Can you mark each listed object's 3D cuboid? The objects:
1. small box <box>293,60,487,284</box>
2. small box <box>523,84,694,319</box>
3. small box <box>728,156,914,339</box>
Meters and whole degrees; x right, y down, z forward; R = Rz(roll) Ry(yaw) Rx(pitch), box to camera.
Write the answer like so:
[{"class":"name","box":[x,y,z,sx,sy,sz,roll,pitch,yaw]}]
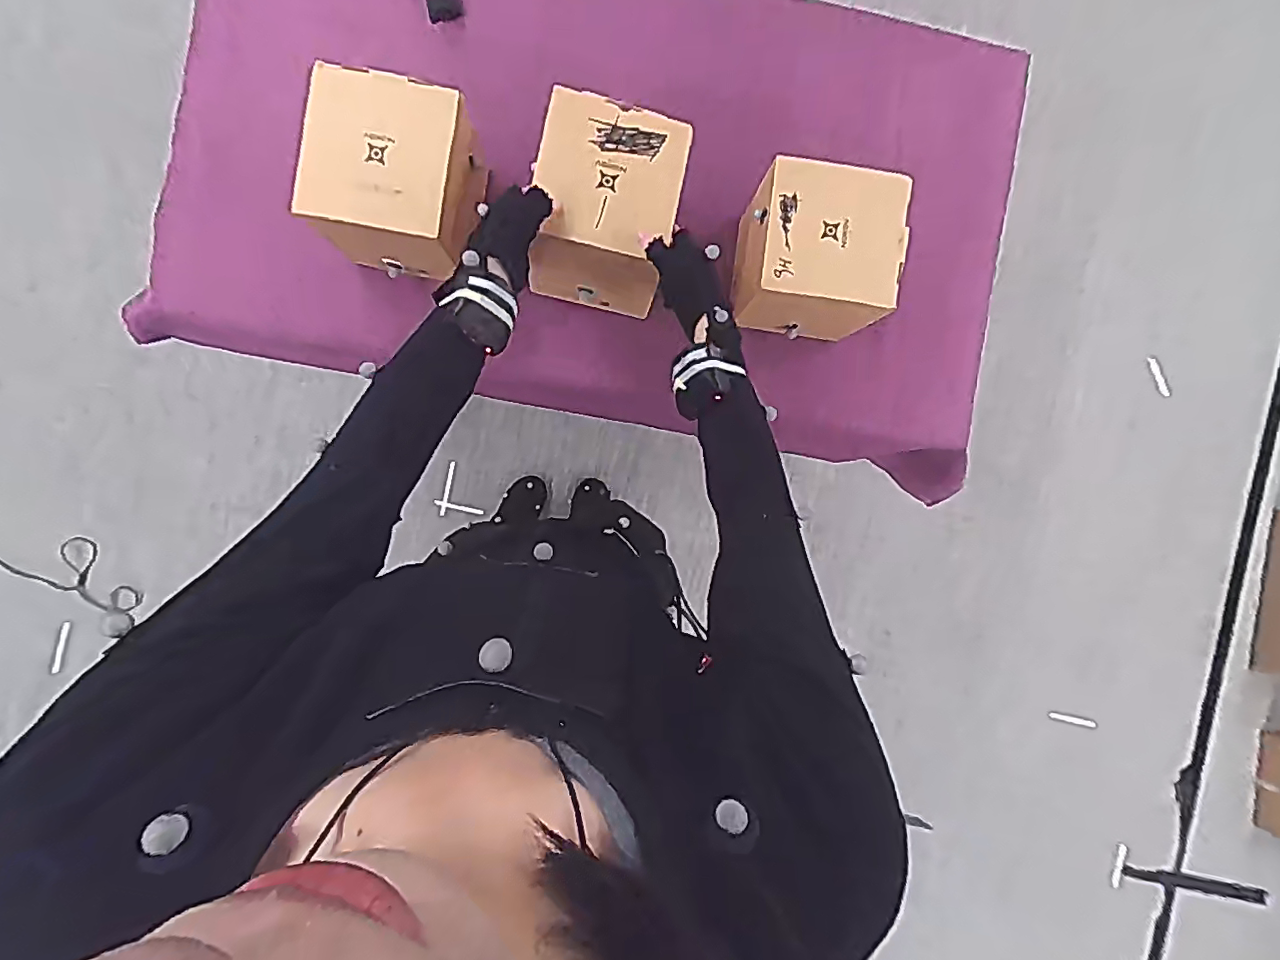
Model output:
[{"class":"small box","box":[-0.302,-0.375,0.690,0.168,0.176,0.179,8,91,-3]},{"class":"small box","box":[-0.045,-0.332,0.680,0.168,0.176,0.179,13,82,-8]},{"class":"small box","box":[0.234,-0.299,0.736,0.179,0.176,0.168,7,90,-5]}]
